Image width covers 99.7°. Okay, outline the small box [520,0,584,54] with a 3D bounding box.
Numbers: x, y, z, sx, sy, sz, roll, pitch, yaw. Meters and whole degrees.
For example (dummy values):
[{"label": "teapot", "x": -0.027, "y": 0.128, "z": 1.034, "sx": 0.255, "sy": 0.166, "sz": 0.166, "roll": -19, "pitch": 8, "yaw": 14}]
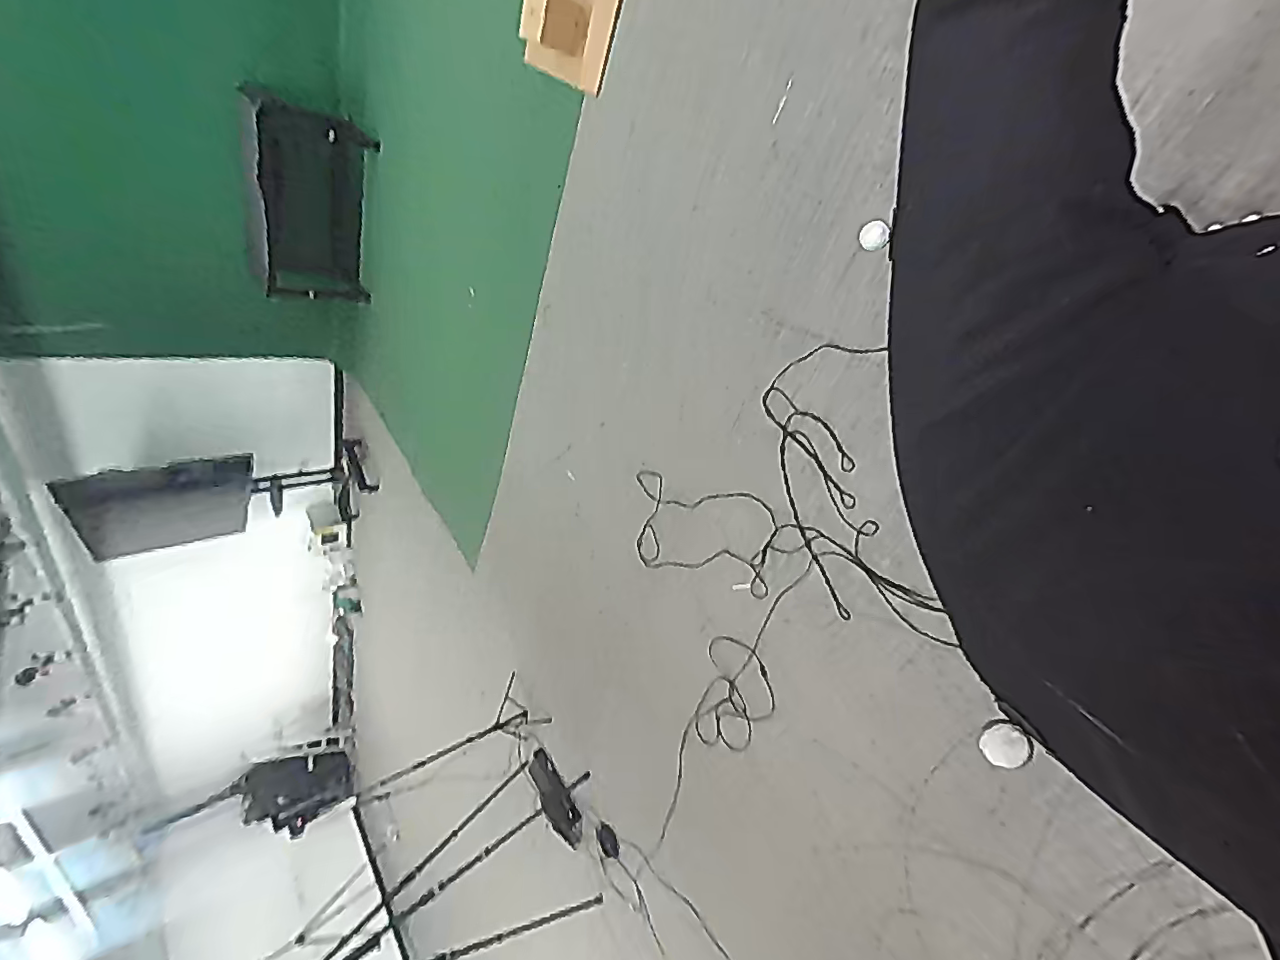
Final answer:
[{"label": "small box", "x": -0.348, "y": -1.823, "z": 2.139, "sx": 0.179, "sy": 0.176, "sz": 0.168, "roll": 46, "pitch": 131, "yaw": 32}]
